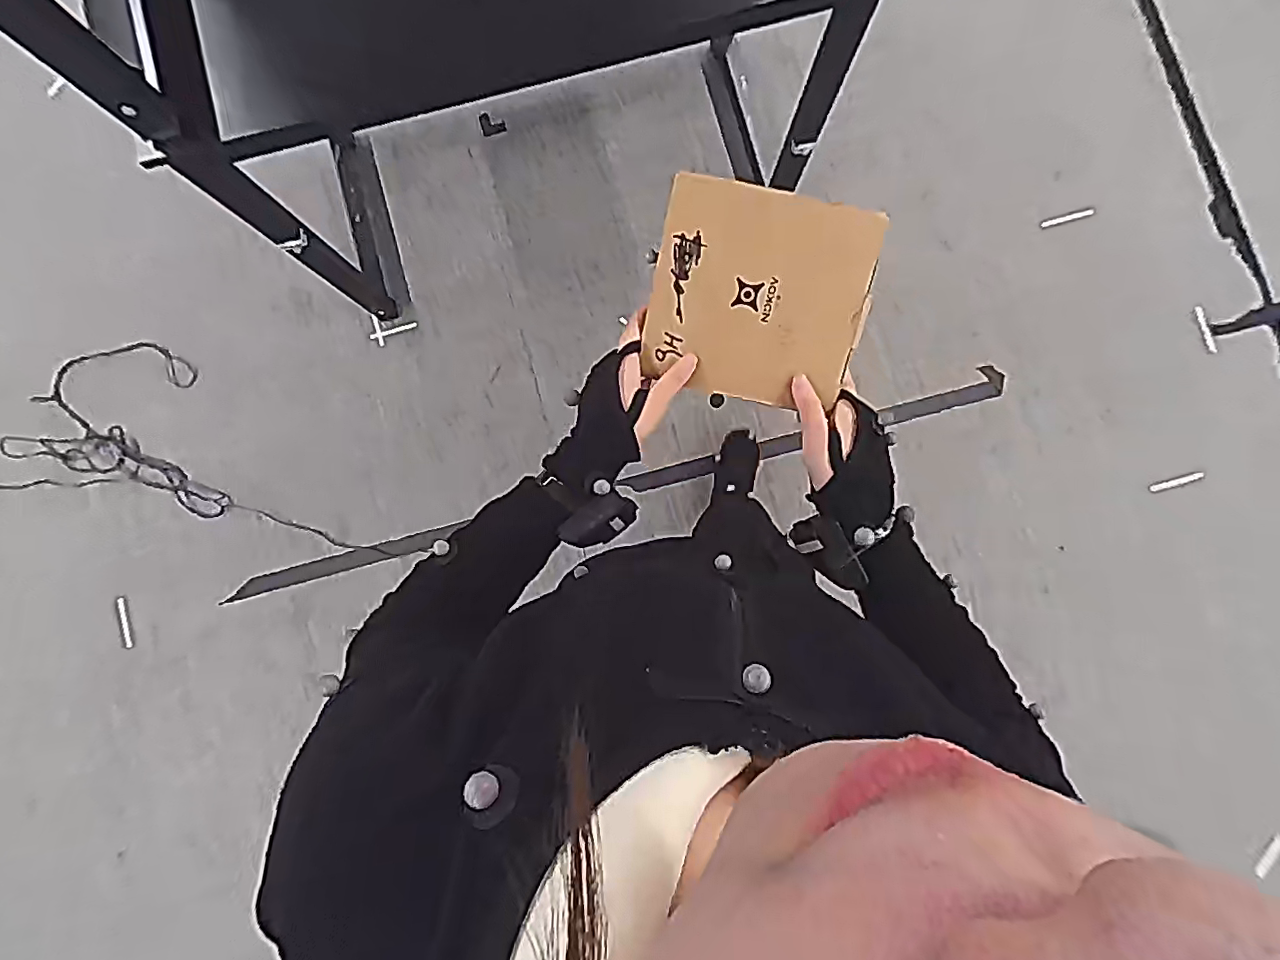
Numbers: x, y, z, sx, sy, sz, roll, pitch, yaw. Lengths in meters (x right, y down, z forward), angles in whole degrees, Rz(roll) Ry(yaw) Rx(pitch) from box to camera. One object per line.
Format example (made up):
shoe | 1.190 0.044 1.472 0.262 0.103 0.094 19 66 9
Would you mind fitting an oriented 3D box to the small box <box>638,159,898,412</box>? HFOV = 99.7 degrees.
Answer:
small box | 0.102 -0.169 0.511 0.179 0.176 0.168 12 101 0
